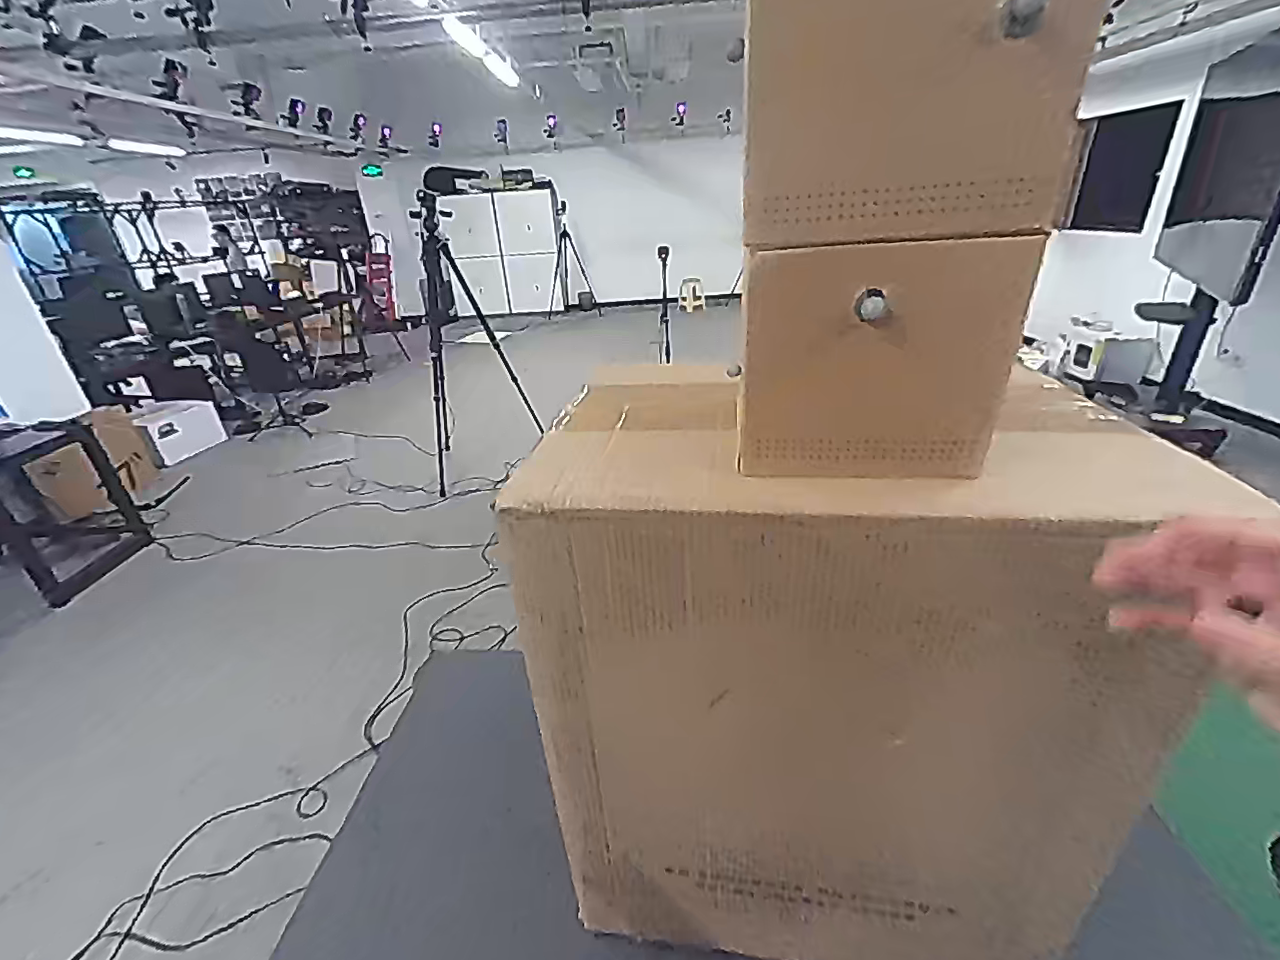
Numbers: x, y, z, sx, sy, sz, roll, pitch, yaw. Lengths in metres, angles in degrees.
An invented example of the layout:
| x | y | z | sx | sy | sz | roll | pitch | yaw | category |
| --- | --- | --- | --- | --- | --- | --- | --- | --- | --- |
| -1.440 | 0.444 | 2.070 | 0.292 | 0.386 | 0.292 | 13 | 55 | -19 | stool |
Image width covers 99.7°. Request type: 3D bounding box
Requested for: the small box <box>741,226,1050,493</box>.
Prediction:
| x | y | z | sx | sy | sz | roll | pitch | yaw | category |
| --- | --- | --- | --- | --- | --- | --- | --- | --- | --- |
| 0.173 | -0.099 | 0.435 | 0.179 | 0.176 | 0.168 | 1 | 30 | 10 | small box |
